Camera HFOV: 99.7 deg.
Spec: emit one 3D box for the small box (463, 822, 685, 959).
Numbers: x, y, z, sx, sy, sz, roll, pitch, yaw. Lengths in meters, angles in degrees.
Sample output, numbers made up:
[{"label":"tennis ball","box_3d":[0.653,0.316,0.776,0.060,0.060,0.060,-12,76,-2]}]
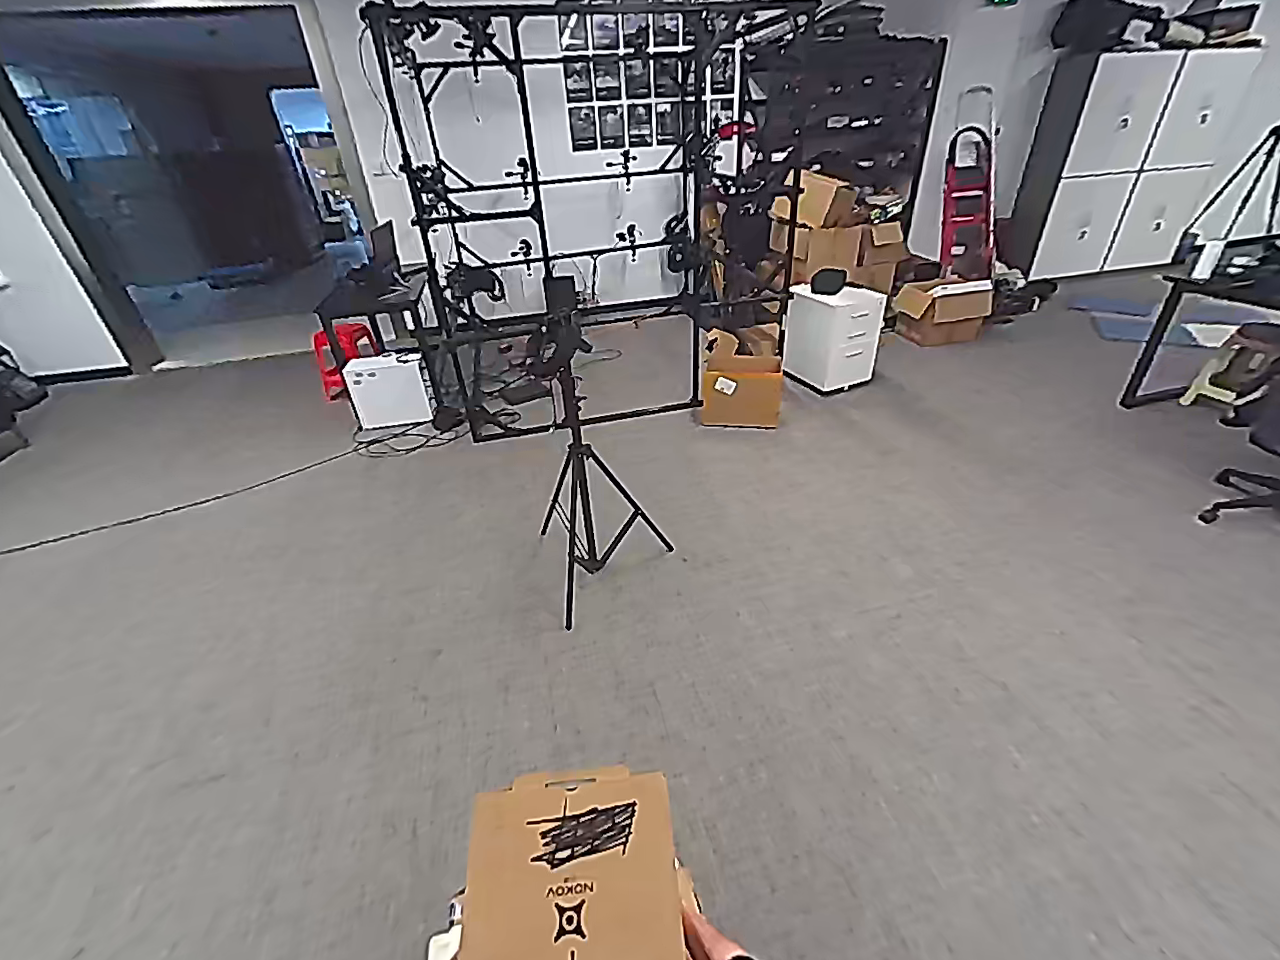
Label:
[{"label":"small box","box_3d":[-0.047,0.412,0.446,0.168,0.176,0.179,-5,43,-3]}]
